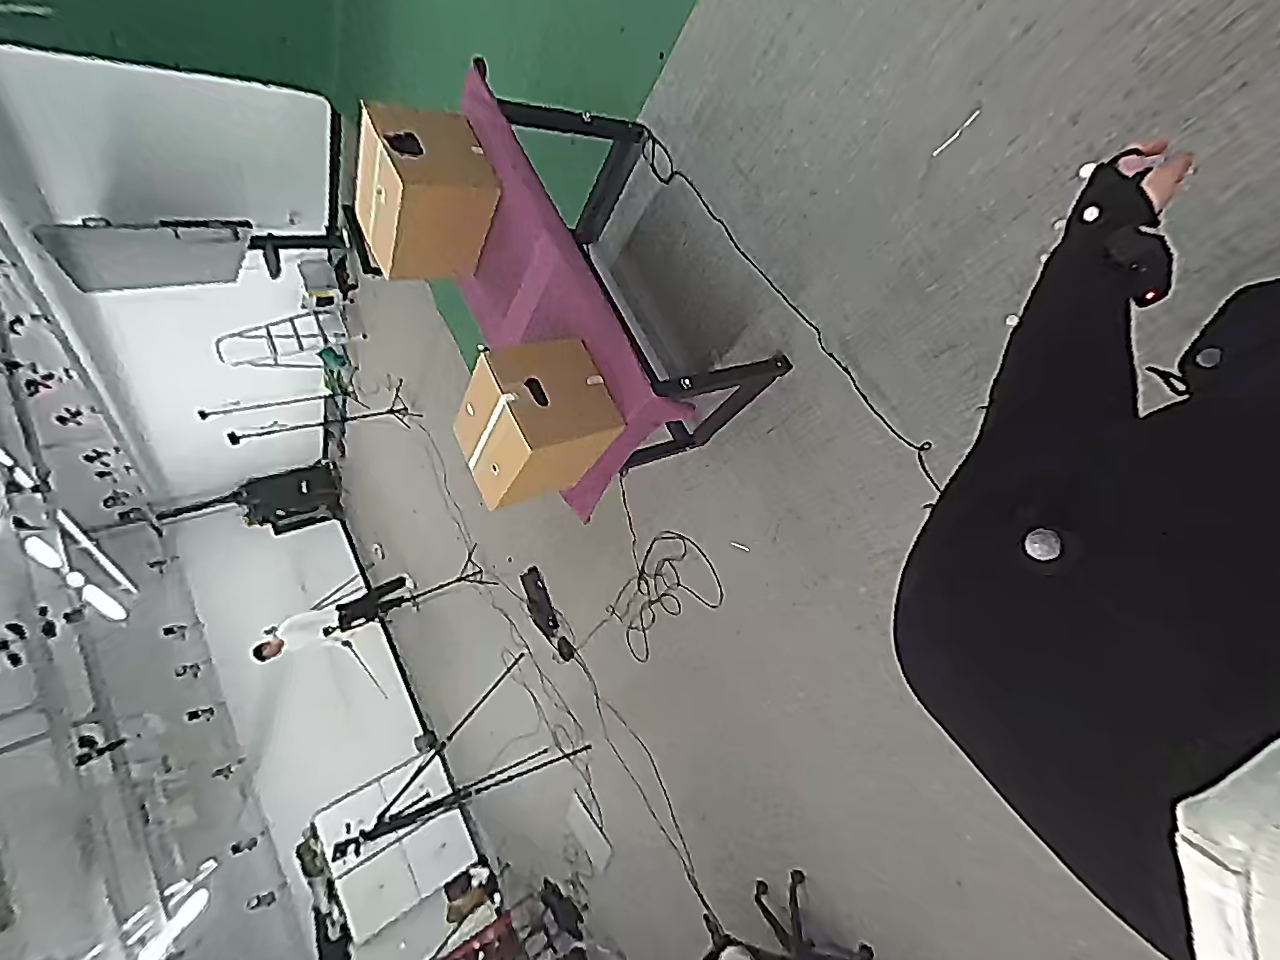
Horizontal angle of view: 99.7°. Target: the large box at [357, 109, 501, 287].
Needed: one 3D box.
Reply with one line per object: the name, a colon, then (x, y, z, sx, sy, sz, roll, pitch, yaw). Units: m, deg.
large box: (-0.699, -0.892, 1.766, 0.408, 0.320, 0.320, -42, 74, 51)
